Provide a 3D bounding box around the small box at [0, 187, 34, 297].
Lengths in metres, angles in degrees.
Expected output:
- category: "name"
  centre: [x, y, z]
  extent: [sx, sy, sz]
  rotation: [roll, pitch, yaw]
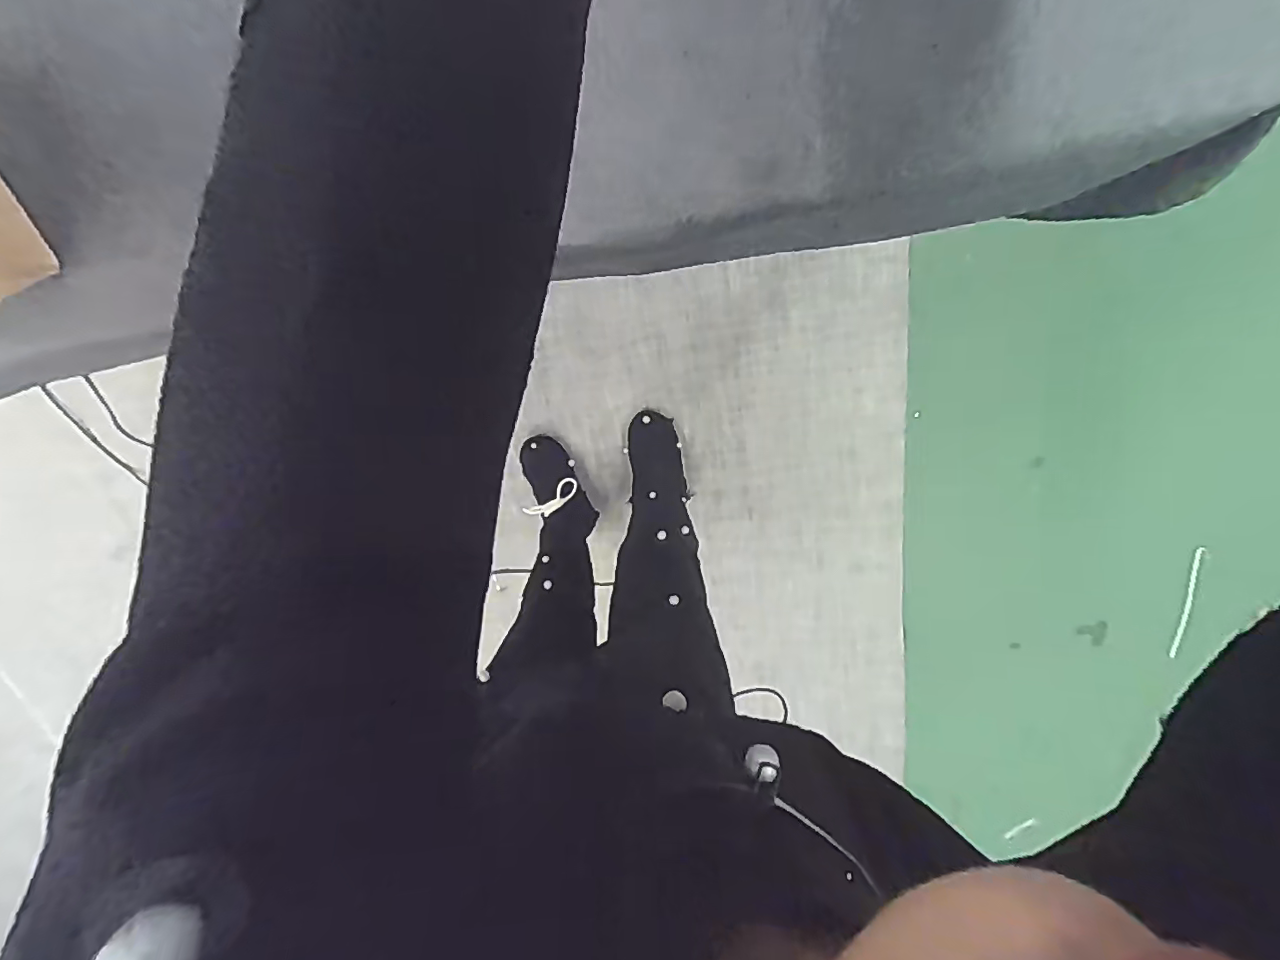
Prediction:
- category: "small box"
  centre: [-0.537, -0.176, 0.314]
  extent: [0.179, 0.176, 0.168]
  rotation: [-18, 109, 10]
